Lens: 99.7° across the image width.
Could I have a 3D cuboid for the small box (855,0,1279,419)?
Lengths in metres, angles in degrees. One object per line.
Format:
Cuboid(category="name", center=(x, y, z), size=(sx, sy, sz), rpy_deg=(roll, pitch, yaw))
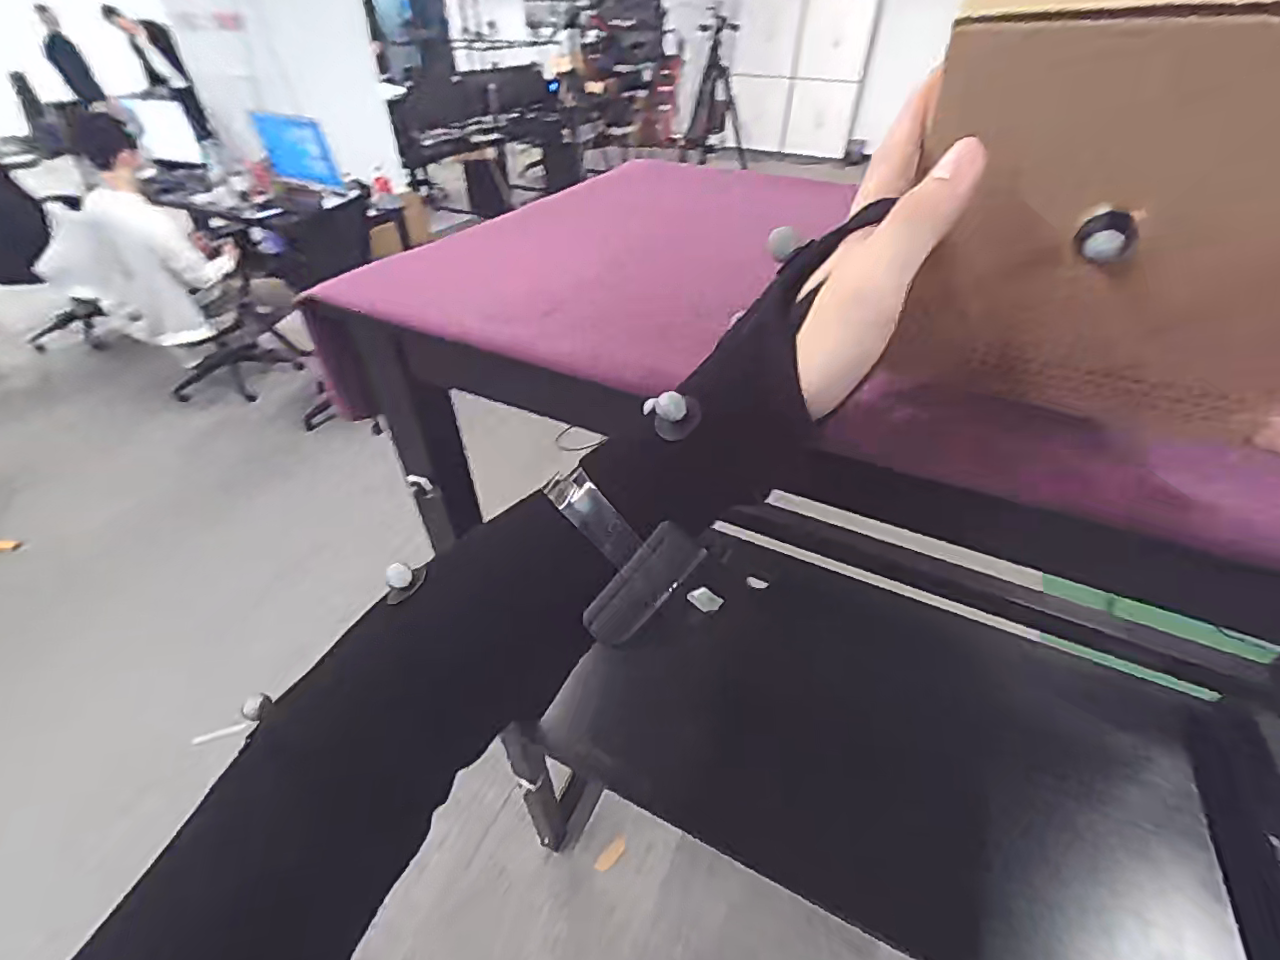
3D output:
Cuboid(category="small box", center=(0.229, -0.155, 0.273), size=(0.179, 0.176, 0.168), rpy_deg=(19, 57, 24))
